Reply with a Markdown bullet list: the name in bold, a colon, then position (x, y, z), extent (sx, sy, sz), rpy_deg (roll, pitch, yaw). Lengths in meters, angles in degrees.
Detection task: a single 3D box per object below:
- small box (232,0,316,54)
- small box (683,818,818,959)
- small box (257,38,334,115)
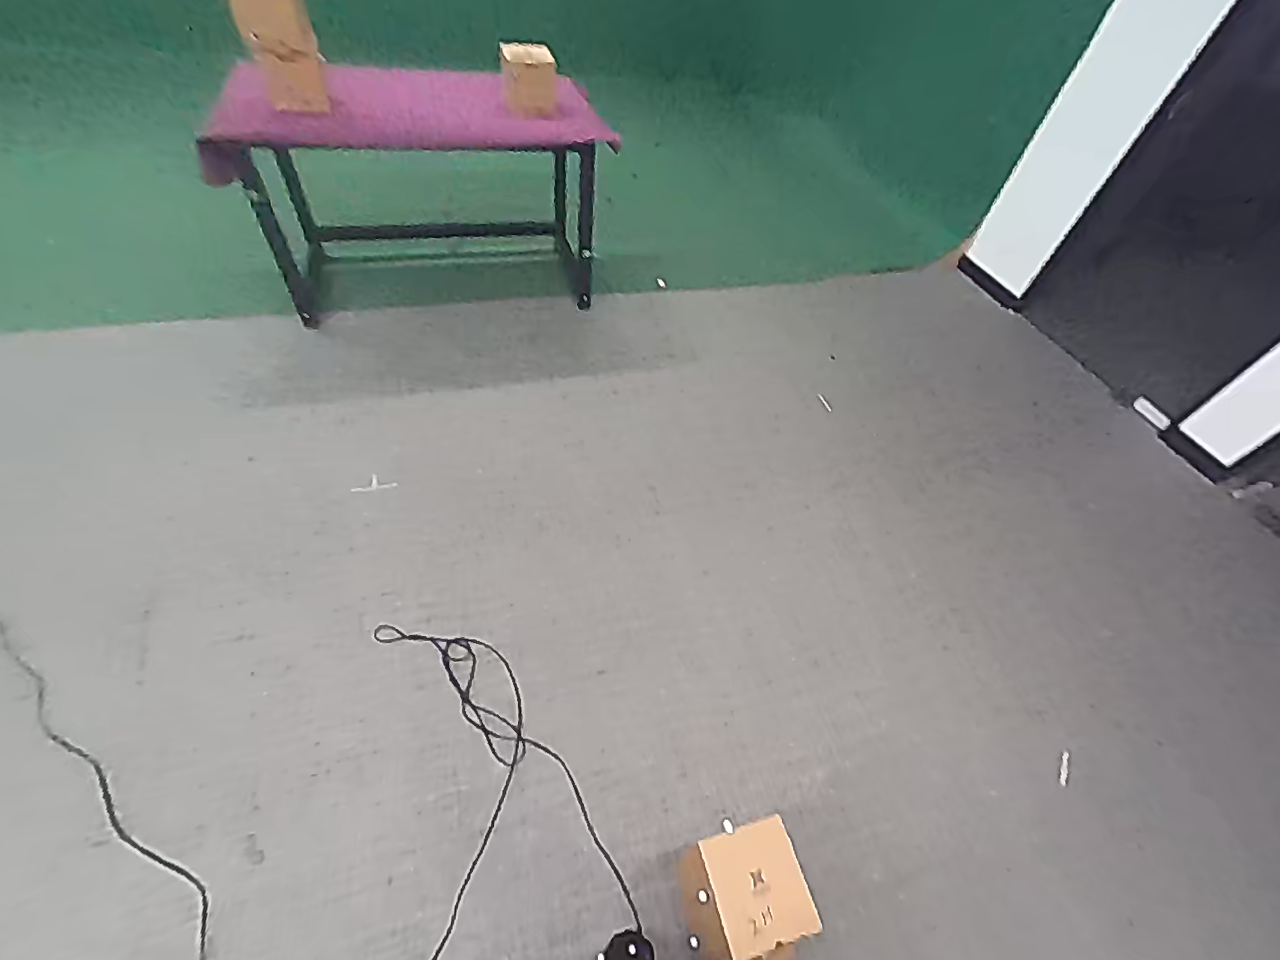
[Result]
- **small box**: position (-1.093, -1.402, 1.614), extent (0.168, 0.176, 0.179), rpy_deg (-6, 52, -14)
- **small box**: position (0.189, 0.754, 0.992), extent (0.168, 0.176, 0.179), rpy_deg (-8, 53, -15)
- **small box**: position (-1.108, -1.312, 1.752), extent (0.168, 0.176, 0.179), rpy_deg (-10, 54, -17)
